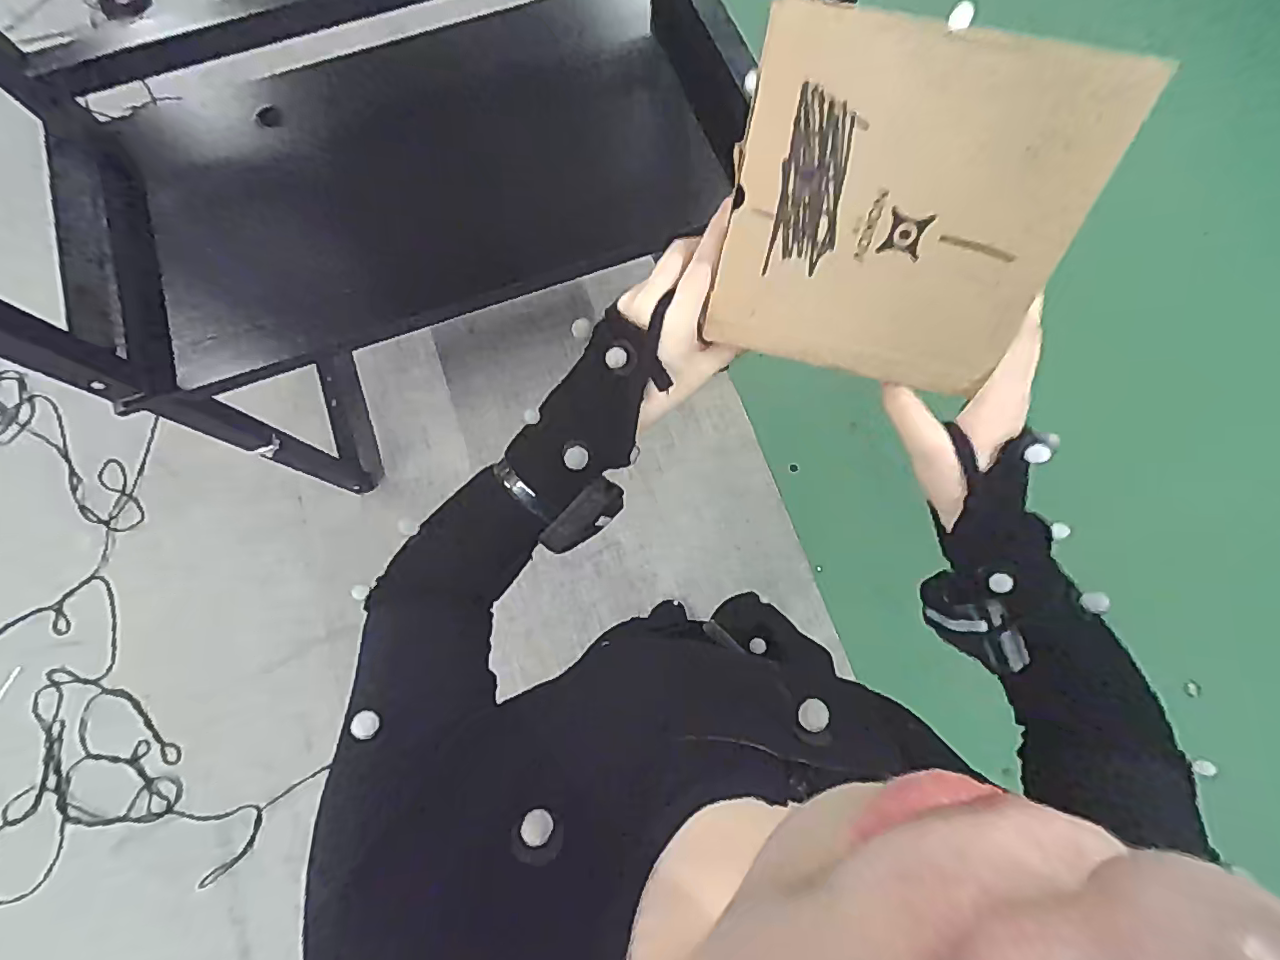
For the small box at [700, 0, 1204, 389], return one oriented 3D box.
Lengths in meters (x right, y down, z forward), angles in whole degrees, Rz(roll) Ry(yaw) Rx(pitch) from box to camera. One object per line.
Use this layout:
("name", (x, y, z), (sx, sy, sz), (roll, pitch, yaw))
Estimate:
("small box", (0.148, -0.183, 0.333), (0.179, 0.168, 0.176), (14, 39, 5))
